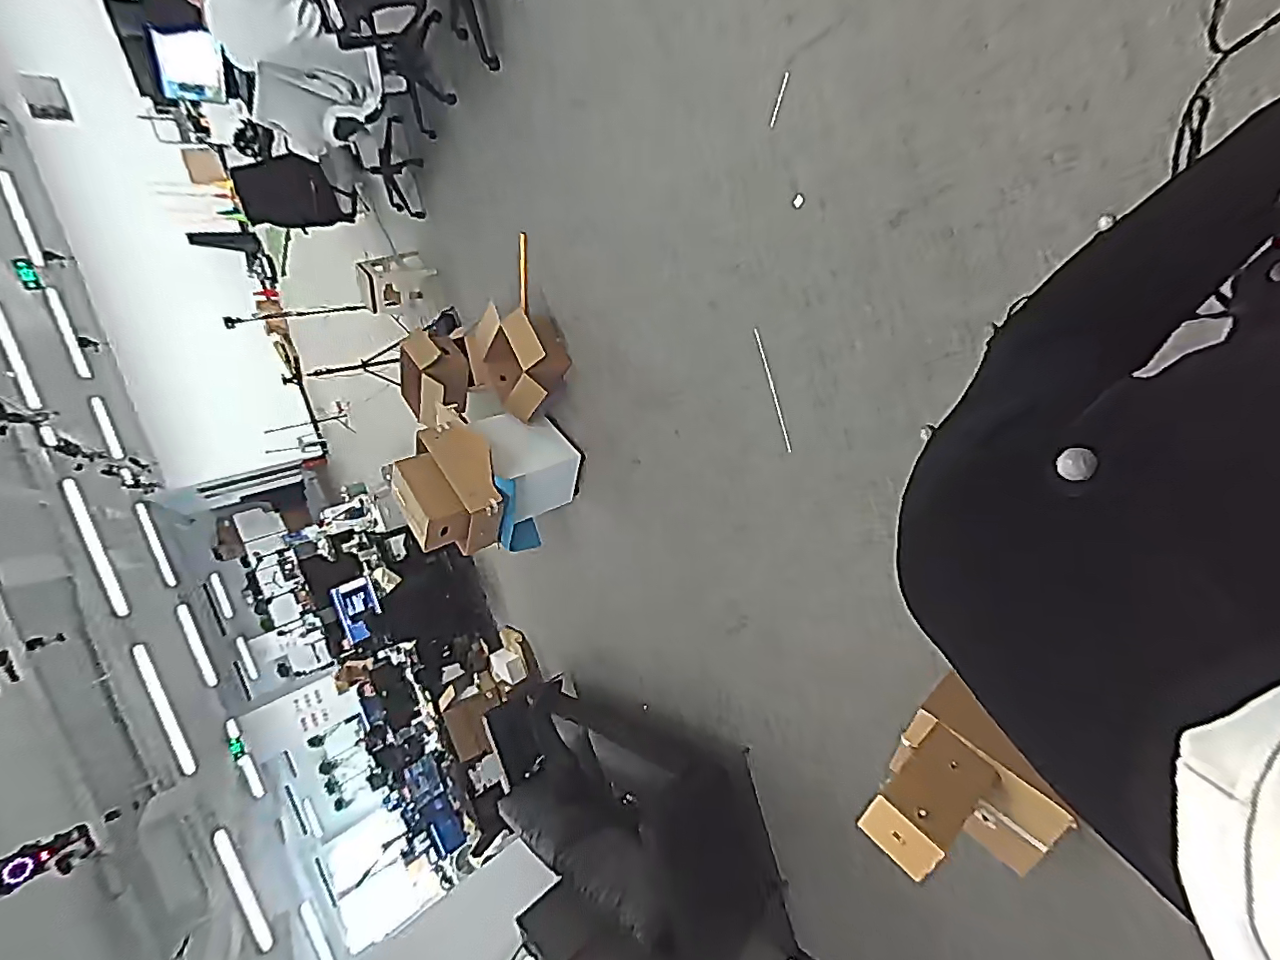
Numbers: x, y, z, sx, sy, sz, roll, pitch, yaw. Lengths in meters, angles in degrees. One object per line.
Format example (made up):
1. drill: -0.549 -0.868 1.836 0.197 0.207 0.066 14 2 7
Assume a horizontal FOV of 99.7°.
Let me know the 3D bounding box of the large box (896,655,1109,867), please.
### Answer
1. large box: 1.071 0.818 1.629 0.408 0.320 0.320 32 133 38

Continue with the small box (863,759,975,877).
1. small box: 0.722 0.864 1.404 0.179 0.176 0.168 36 133 35
